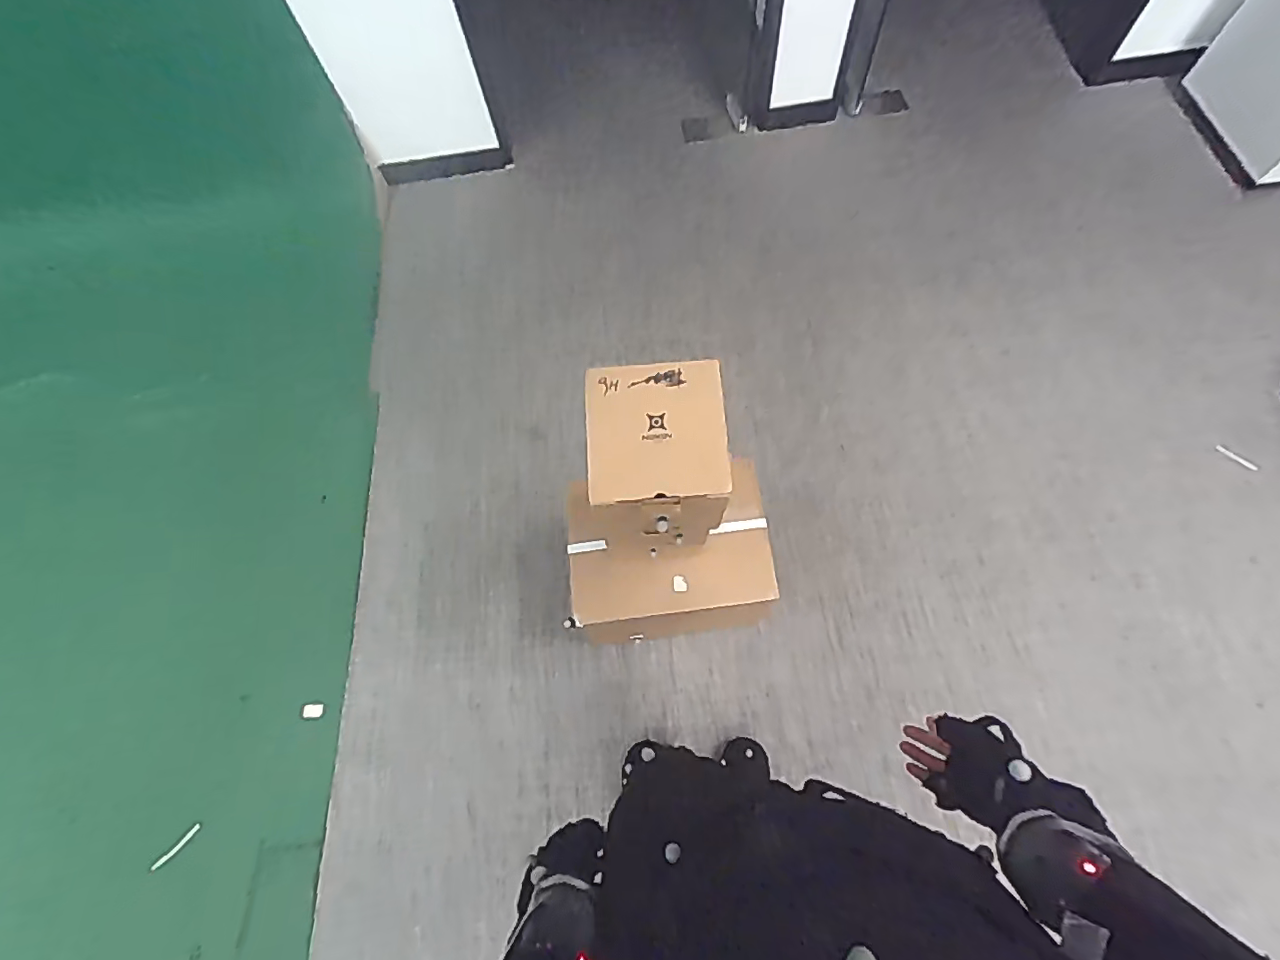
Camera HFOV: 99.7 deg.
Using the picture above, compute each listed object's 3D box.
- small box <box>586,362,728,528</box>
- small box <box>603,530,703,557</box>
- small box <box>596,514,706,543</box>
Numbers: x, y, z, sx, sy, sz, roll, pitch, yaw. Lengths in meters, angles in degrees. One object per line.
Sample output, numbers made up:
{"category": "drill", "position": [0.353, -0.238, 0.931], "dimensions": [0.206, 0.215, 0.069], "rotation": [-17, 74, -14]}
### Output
{"category": "small box", "position": [0.022, -0.035, 0.718], "dimensions": [0.168, 0.176, 0.179], "rotation": [-3, 73, 2]}
{"category": "small box", "position": [0.027, 0.049, 1.030], "dimensions": [0.179, 0.176, 0.168], "rotation": [-1, 71, 3]}
{"category": "small box", "position": [0.024, 0.004, 0.877], "dimensions": [0.168, 0.176, 0.179], "rotation": [-1, 71, 2]}
